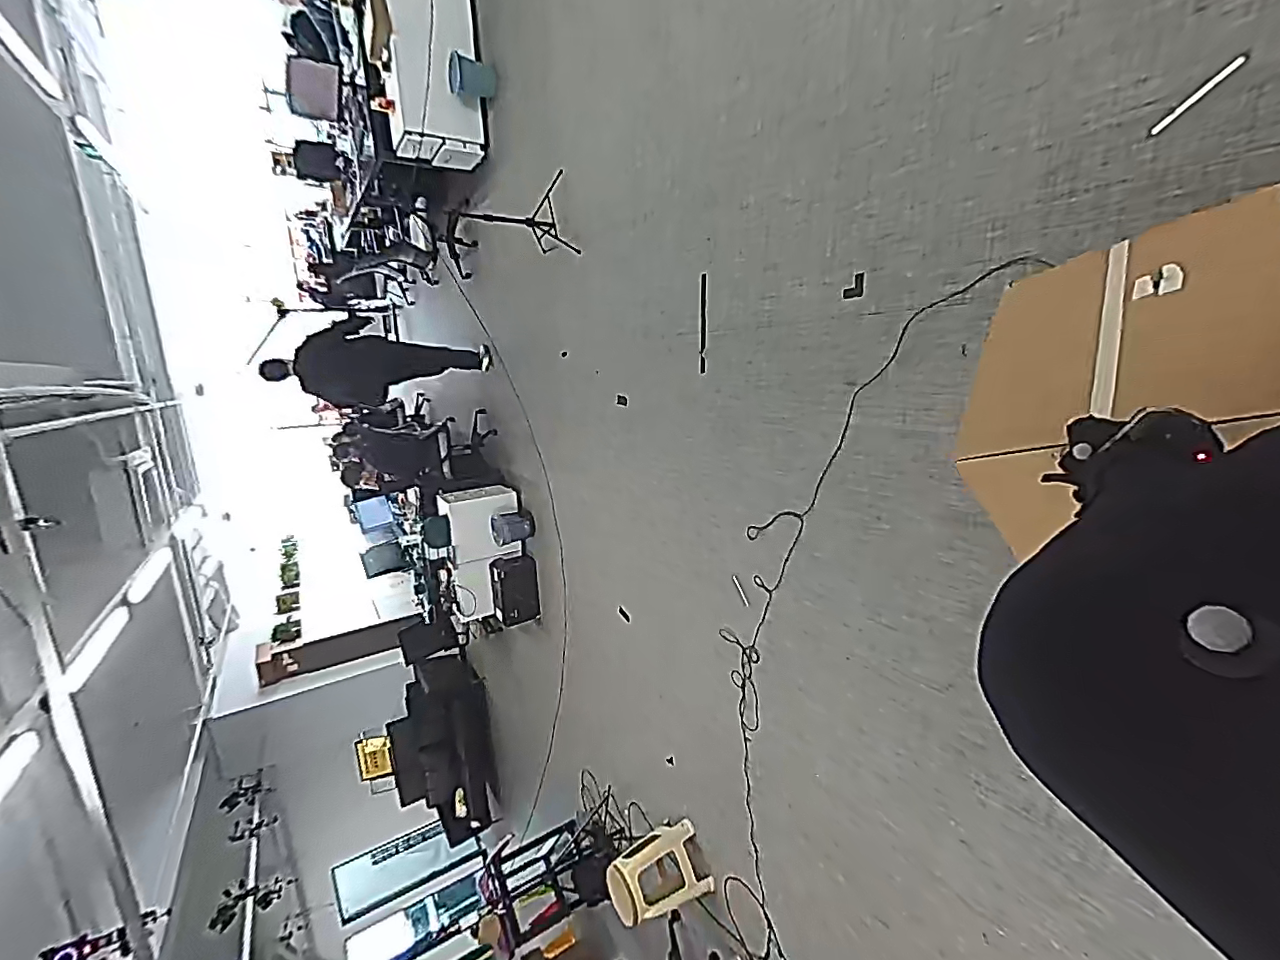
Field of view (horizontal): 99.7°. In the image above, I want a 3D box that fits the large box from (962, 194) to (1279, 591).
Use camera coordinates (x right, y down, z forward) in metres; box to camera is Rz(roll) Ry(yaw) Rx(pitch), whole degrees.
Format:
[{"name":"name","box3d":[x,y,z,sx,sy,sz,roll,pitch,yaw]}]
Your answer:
[{"name":"large box","box3d":[0.720,-0.095,0.760,0.320,0.408,0.320,46,151,-21]}]
